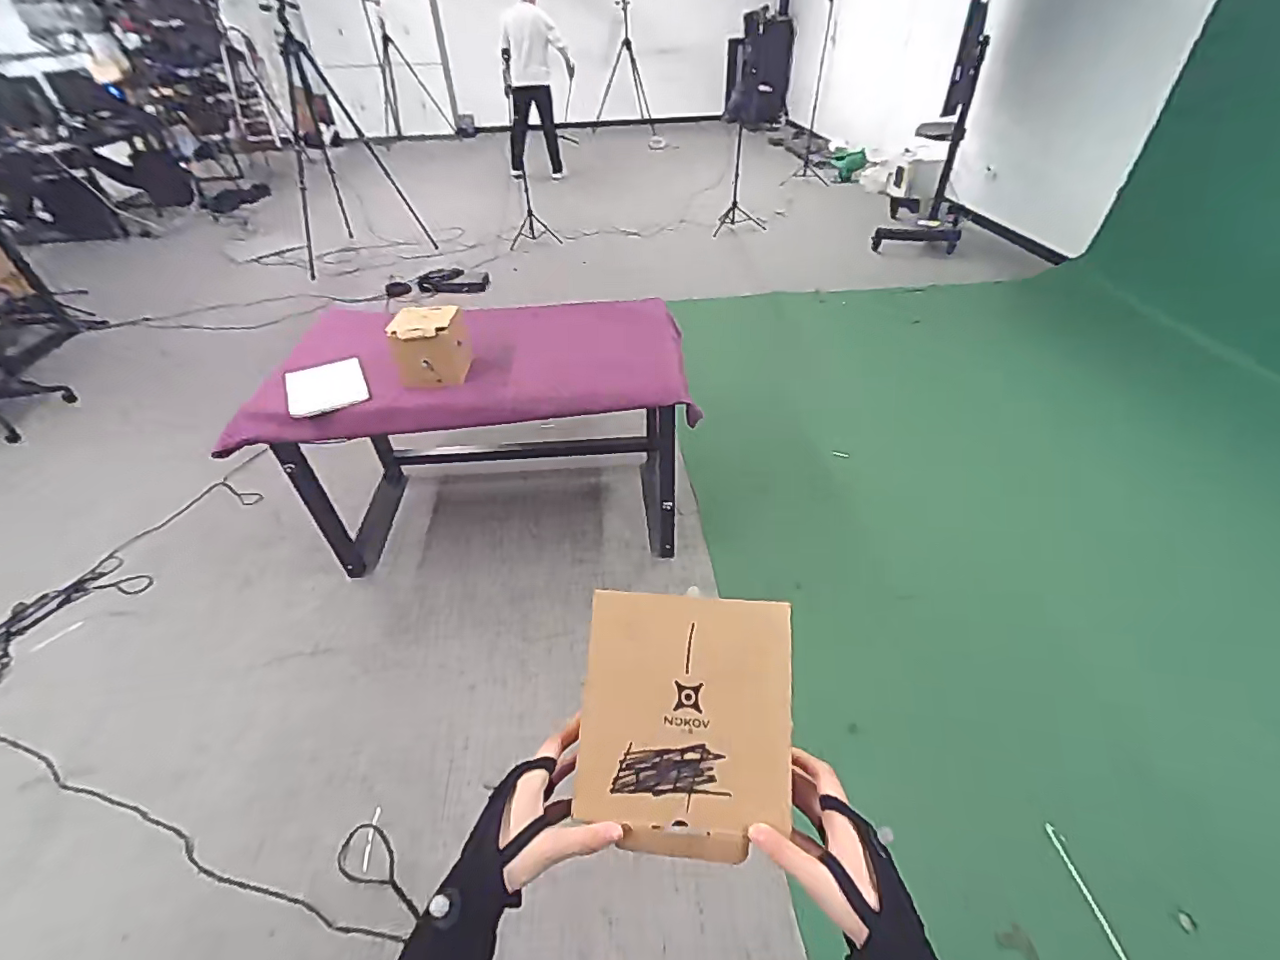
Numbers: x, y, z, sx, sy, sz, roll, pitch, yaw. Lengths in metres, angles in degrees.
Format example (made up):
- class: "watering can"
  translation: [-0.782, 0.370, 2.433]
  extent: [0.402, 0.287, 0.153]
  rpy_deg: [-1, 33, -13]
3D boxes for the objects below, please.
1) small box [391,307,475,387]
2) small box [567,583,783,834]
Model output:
- class: "small box"
  translation: [-0.583, -0.377, 1.552]
  extent: [0.168, 0.176, 0.179]
  rpy_deg: [-3, 42, -2]
- class: "small box"
  translation: [0.036, 0.199, 0.511]
  extent: [0.168, 0.176, 0.179]
  rpy_deg: [4, 74, 4]
